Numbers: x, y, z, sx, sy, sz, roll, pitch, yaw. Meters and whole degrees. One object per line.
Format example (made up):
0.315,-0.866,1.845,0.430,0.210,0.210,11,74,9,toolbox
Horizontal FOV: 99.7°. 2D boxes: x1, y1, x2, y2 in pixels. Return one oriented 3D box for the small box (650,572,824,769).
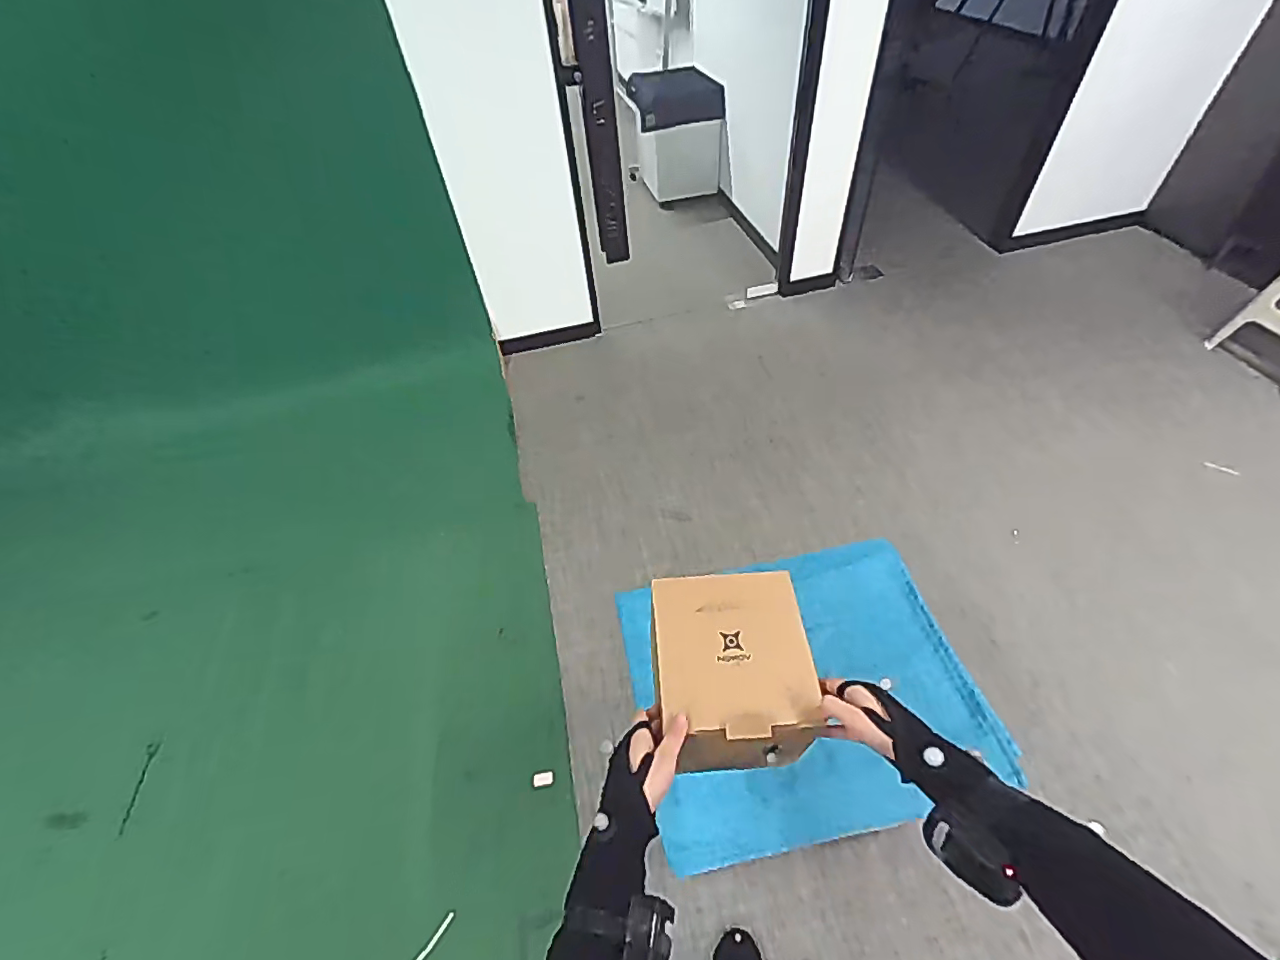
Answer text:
0.099,0.231,0.642,0.168,0.176,0.179,-3,48,-1,small box
